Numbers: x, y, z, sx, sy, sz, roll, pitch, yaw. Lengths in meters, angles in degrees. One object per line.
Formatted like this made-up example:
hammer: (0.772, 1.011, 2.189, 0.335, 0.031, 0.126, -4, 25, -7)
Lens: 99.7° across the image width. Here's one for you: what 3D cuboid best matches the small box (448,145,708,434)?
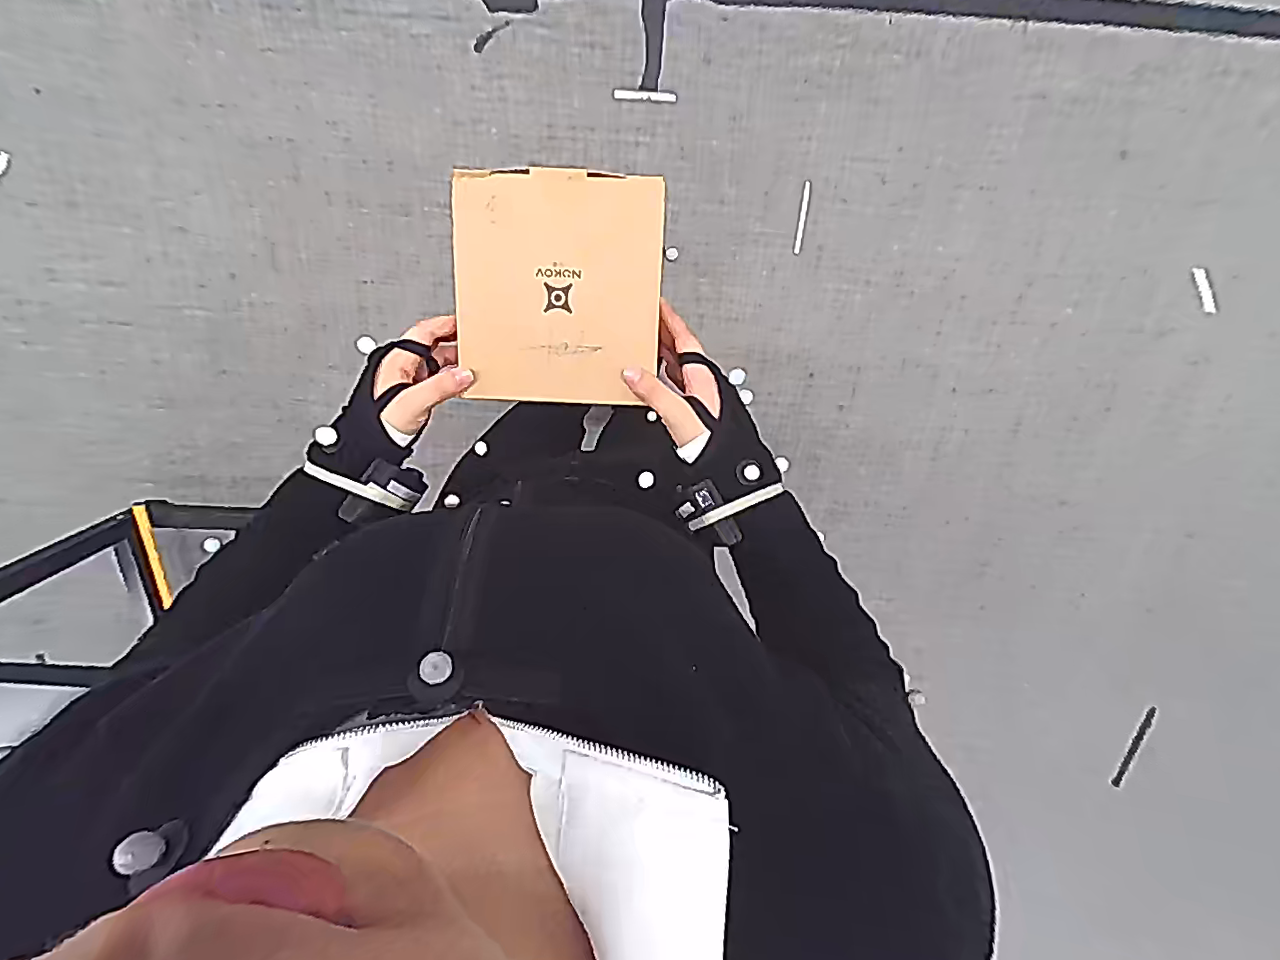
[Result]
small box: (-0.043, -0.137, 0.432, 0.168, 0.176, 0.179, 2, 103, 0)
